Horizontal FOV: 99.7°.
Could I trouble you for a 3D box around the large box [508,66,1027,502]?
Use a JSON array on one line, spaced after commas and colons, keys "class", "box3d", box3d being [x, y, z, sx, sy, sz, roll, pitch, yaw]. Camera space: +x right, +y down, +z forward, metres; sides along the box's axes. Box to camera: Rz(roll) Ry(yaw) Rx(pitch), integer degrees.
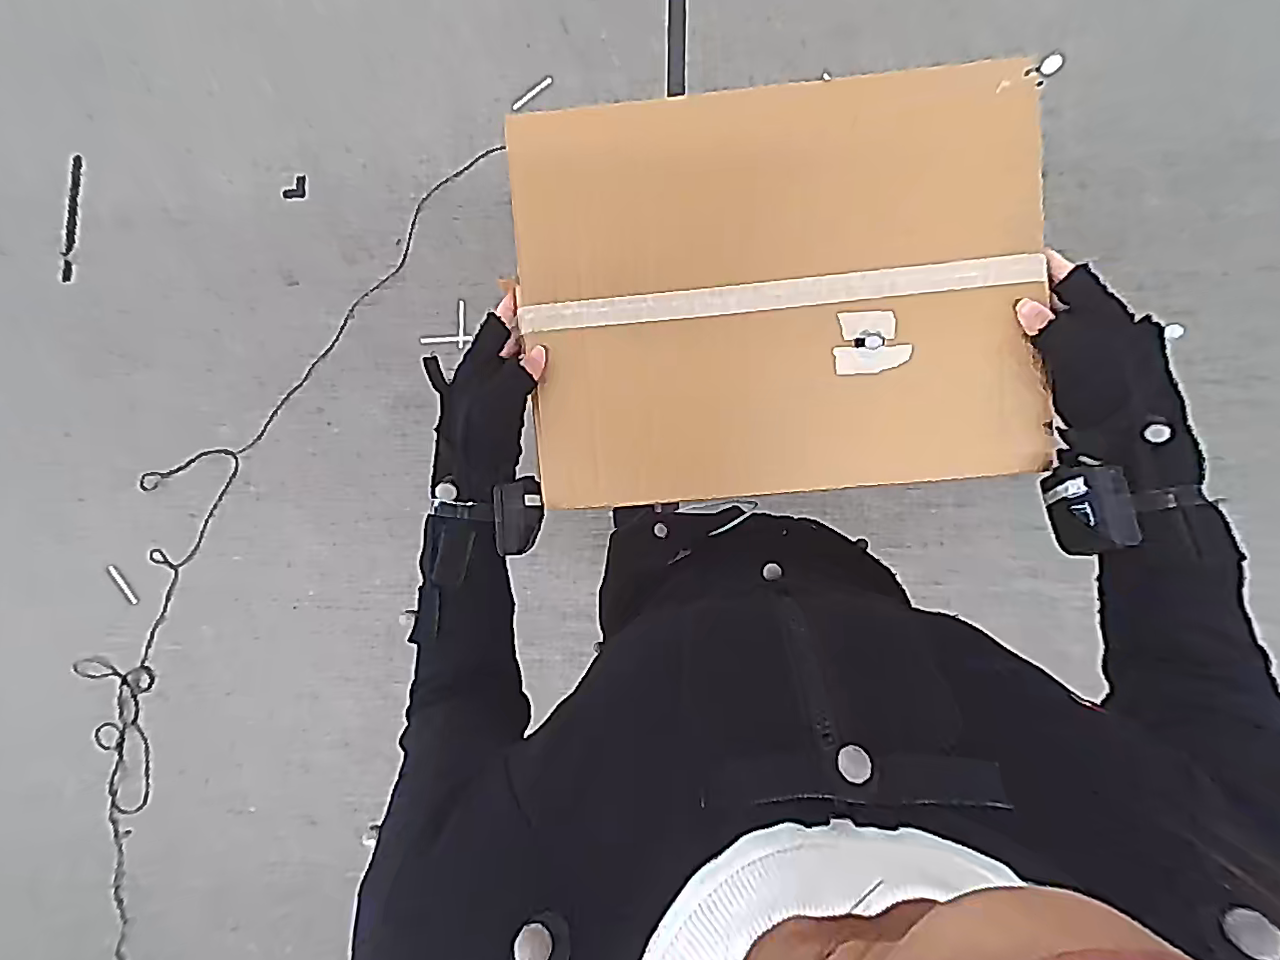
[{"class": "large box", "box3d": [0.107, -0.162, 0.586, 0.408, 0.320, 0.320, -5, 95, 2]}]
